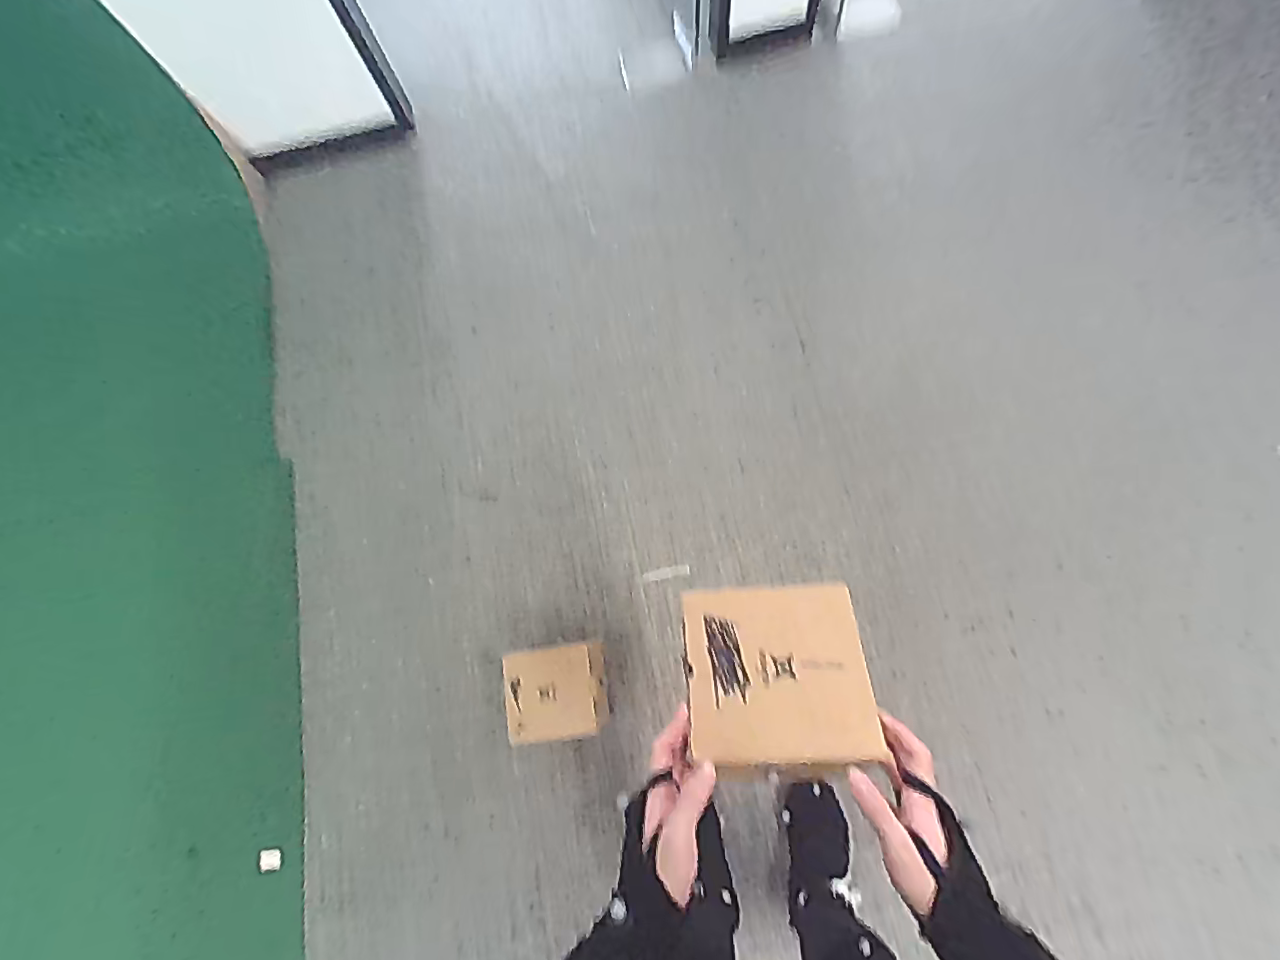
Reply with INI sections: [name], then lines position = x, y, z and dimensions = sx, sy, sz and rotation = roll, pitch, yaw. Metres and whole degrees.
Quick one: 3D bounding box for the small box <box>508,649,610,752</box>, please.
[small box]
position = -0.160, 0.446, 1.117
dimensions = 0.179, 0.176, 0.168
rotation = -9, 74, 1
